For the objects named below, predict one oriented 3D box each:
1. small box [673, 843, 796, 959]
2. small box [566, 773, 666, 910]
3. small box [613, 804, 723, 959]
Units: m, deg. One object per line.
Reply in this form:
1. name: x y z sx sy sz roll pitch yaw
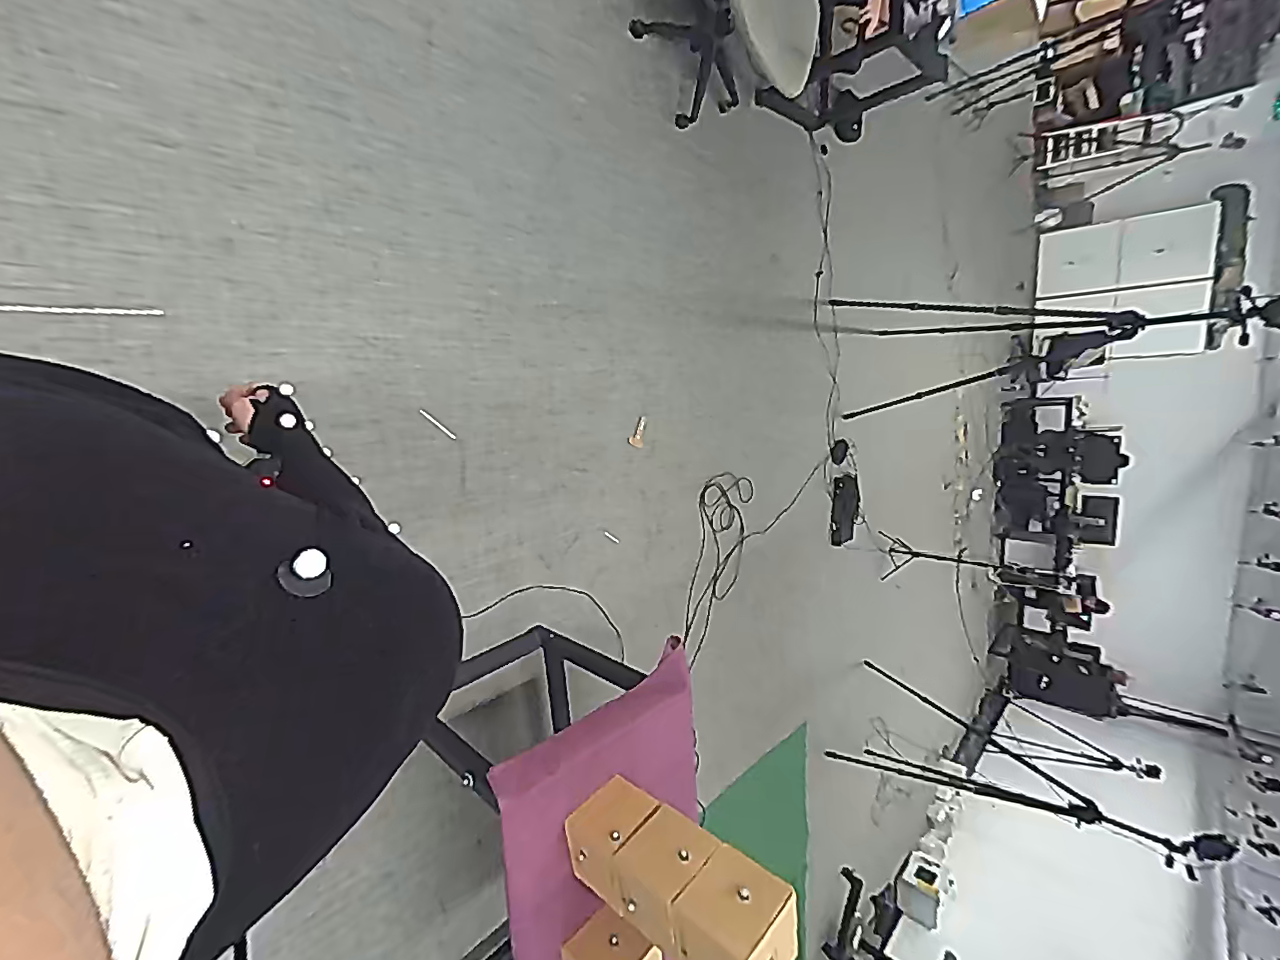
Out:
1. small box: 0.185 0.863 1.050 0.179 0.176 0.168 -19 108 -43
2. small box: -0.049 0.841 1.280 0.179 0.176 0.168 -20 109 -42
3. small box: 0.067 0.849 1.163 0.179 0.176 0.168 -22 110 -42
